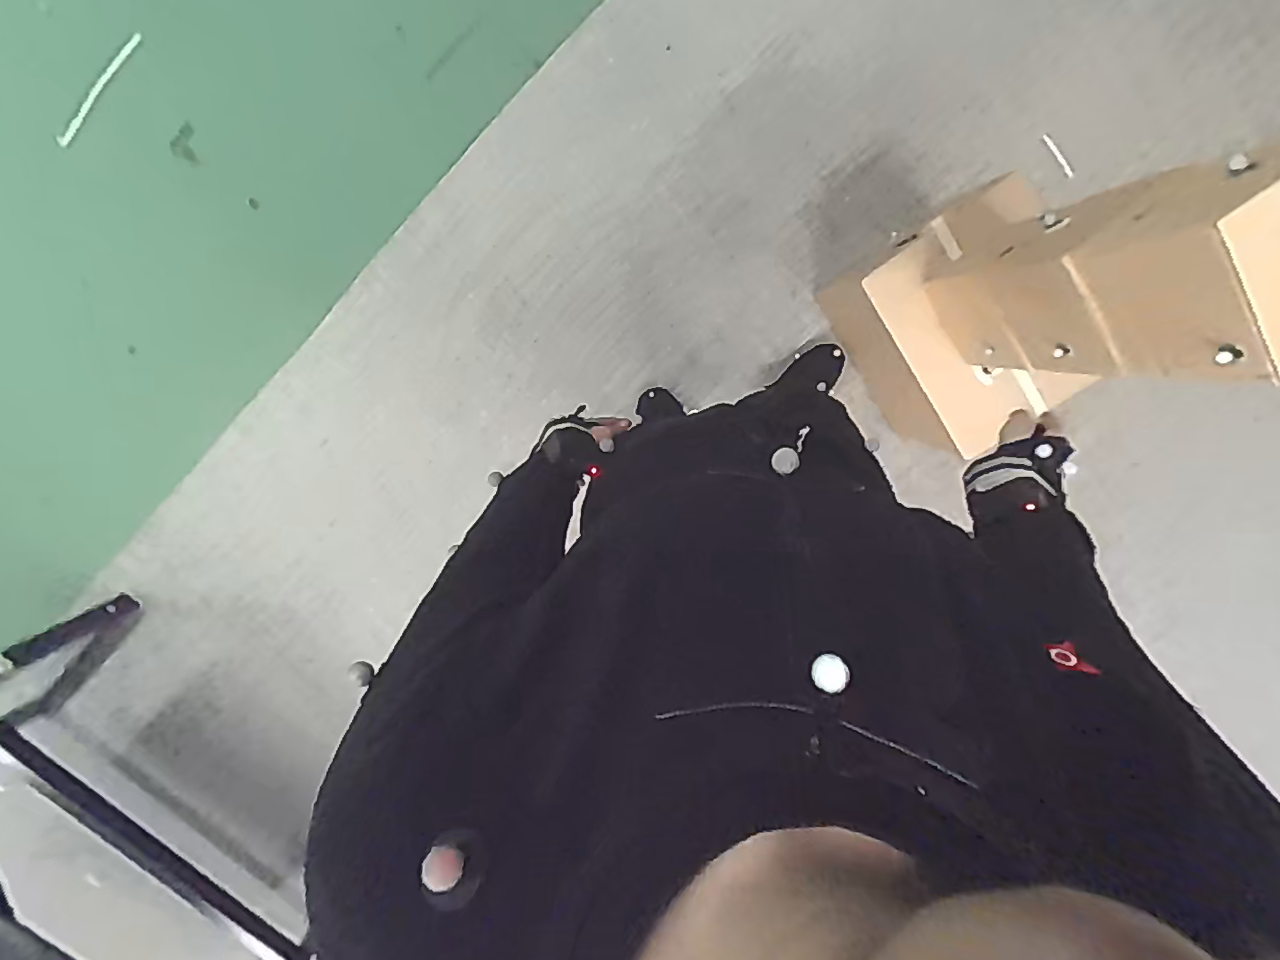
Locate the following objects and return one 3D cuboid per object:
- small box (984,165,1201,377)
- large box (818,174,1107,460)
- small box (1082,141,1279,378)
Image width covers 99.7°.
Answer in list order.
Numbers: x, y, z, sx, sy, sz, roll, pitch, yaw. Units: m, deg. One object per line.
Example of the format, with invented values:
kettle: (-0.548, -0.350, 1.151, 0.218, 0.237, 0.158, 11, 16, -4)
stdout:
small box: (0.601, -0.256, 0.700, 0.168, 0.176, 0.179, -38, 99, 9)
large box: (0.635, -0.313, 1.104, 0.320, 0.320, 0.408, -35, 101, 11)
small box: (0.606, -0.219, 0.542, 0.168, 0.176, 0.179, -35, 101, 9)
